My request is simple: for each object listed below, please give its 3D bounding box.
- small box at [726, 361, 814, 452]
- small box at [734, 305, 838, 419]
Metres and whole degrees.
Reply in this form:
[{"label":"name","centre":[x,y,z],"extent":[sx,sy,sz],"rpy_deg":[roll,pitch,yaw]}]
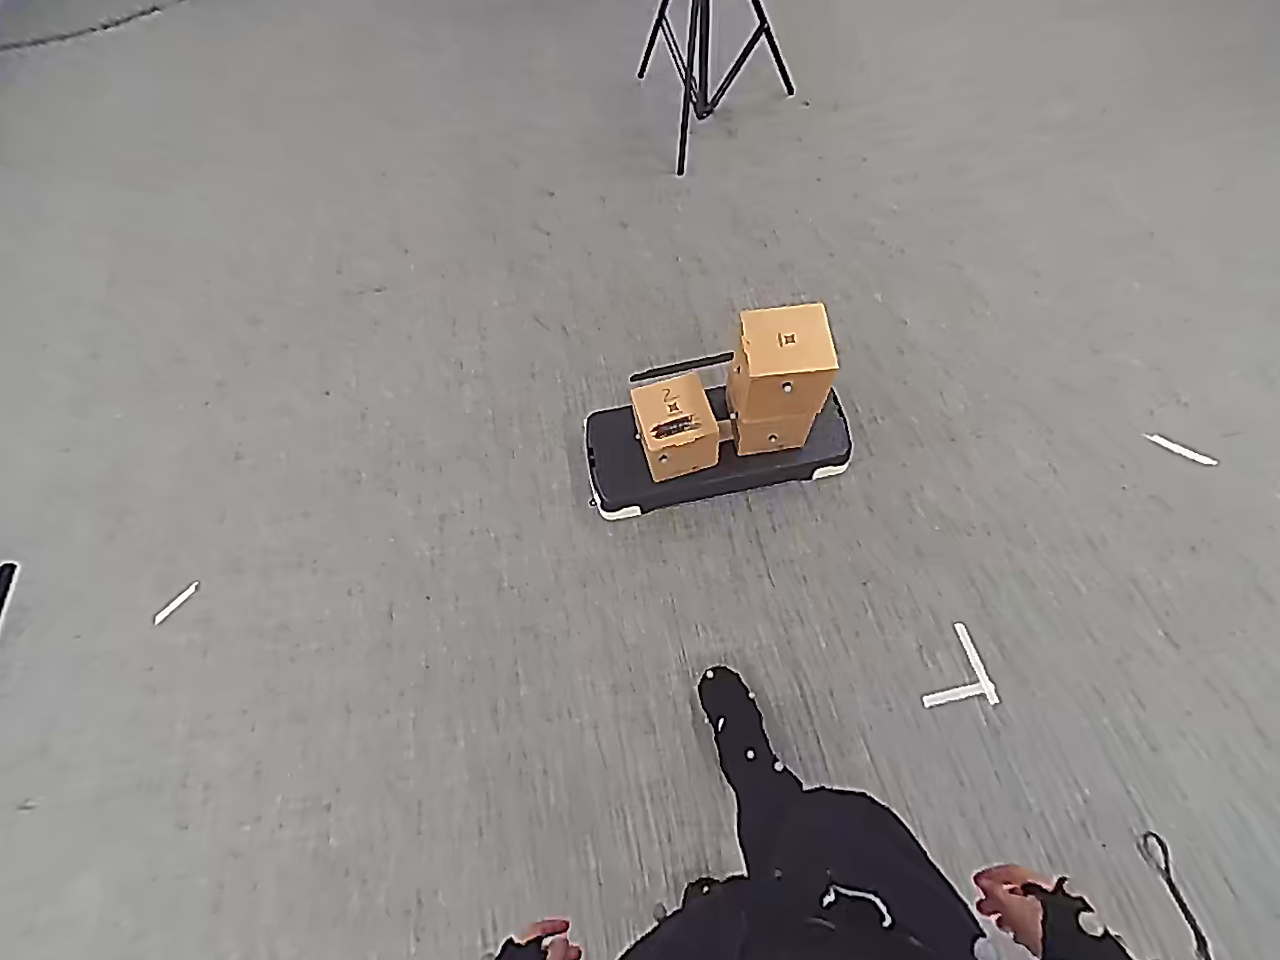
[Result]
[{"label":"small box","centre":[0.305,-0.178,1.304],"extent":[0.168,0.176,0.179],"rpy_deg":[-8,65,2]},{"label":"small box","centre":[0.302,-0.246,1.155],"extent":[0.179,0.176,0.168],"rpy_deg":[-5,66,4]}]
